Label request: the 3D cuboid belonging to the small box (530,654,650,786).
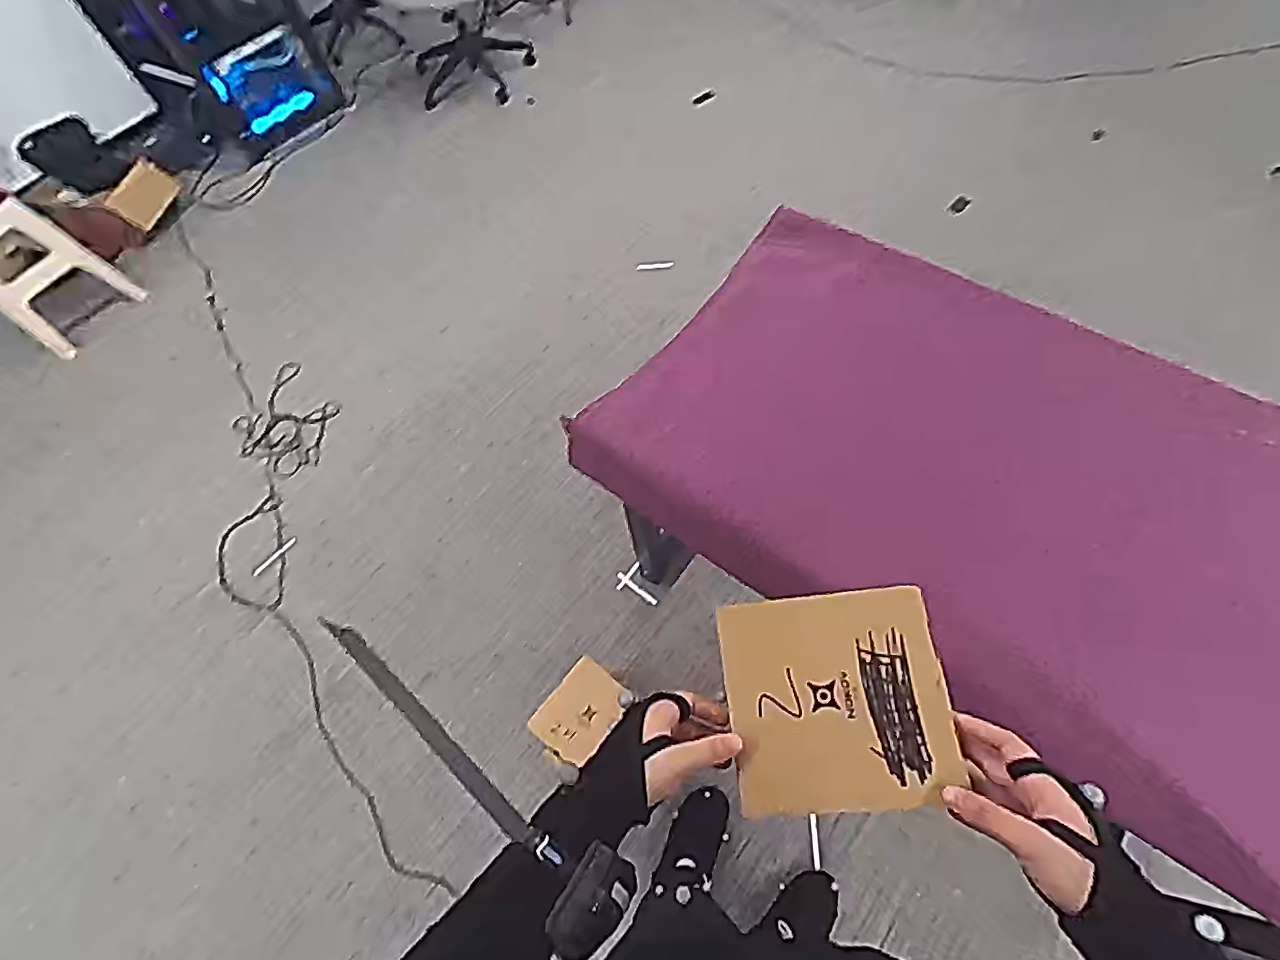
[{"bbox_3d":[-0.094,0.491,1.107,0.168,0.176,0.179,35,71,21],"label":"small box"}]
